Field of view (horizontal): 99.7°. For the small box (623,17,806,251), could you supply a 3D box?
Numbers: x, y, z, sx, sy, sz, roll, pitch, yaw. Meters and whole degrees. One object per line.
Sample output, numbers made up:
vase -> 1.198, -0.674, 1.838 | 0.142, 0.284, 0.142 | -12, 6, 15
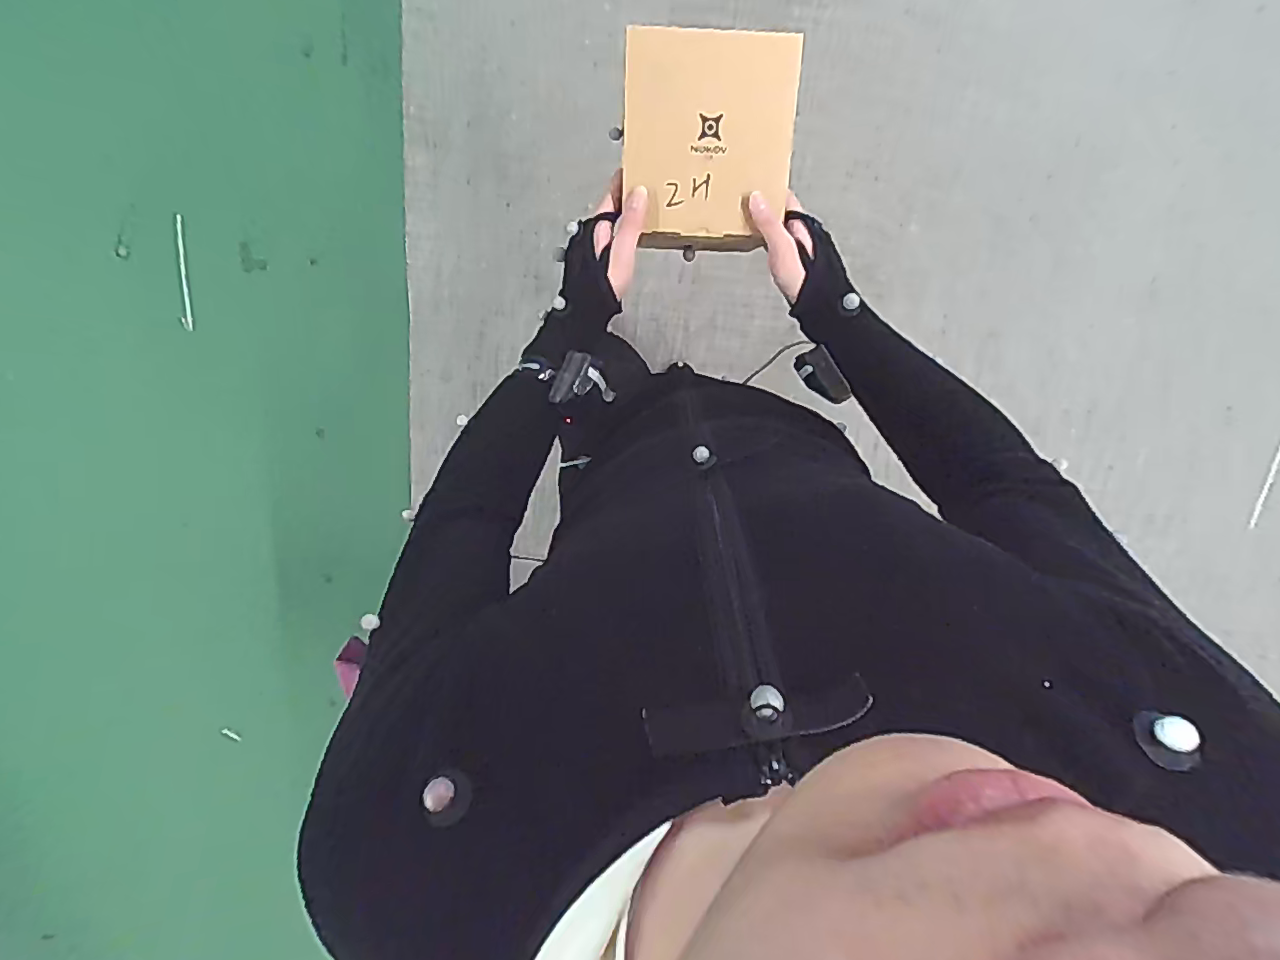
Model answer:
small box -> 0.067, -0.358, 0.594 | 0.168, 0.176, 0.179 | 2, 108, -1
